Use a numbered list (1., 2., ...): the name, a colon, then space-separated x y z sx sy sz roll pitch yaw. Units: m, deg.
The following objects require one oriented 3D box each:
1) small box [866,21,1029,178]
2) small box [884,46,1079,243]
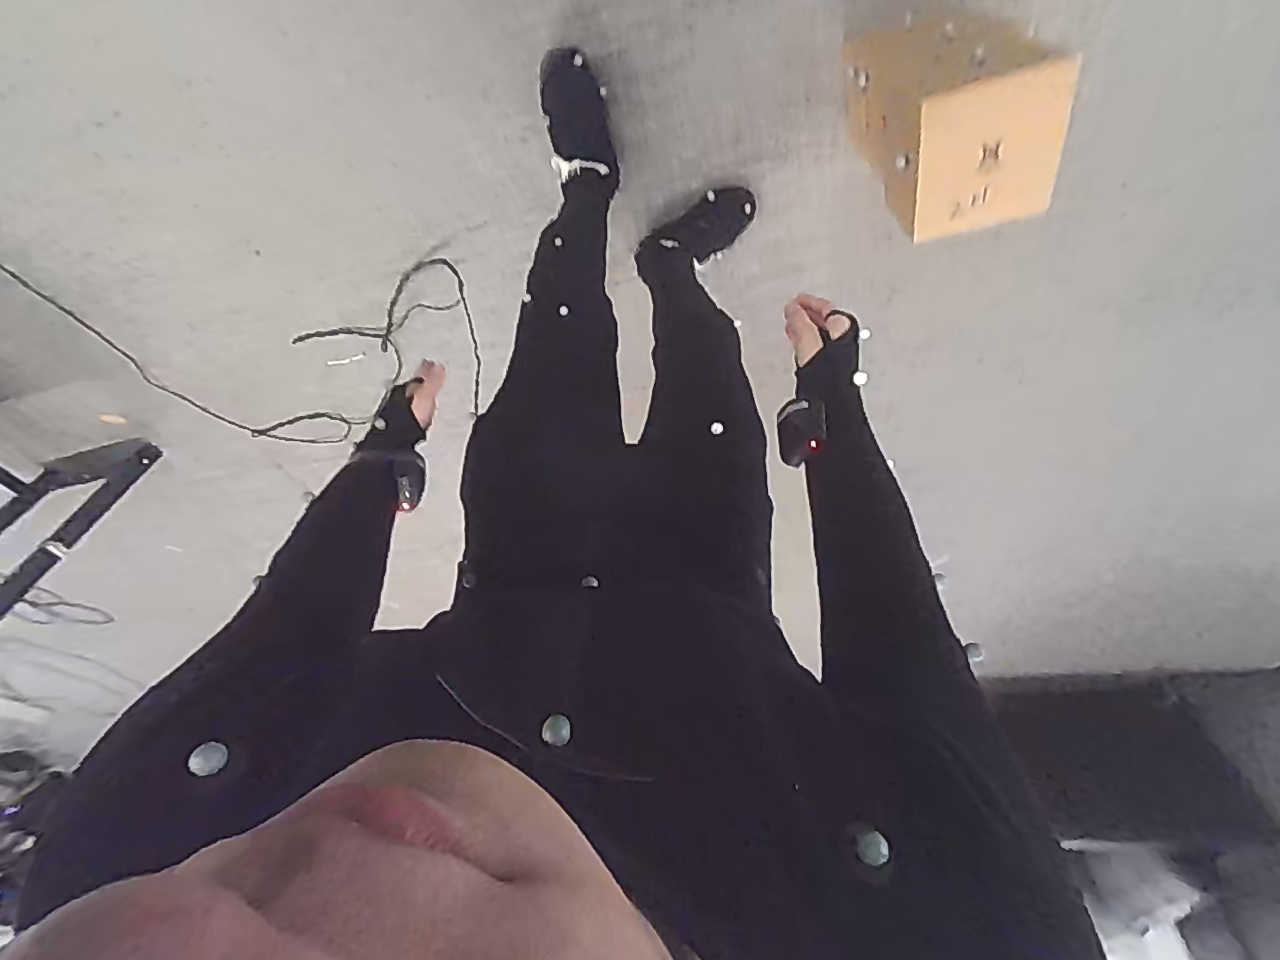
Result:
1. small box: 0.459 -0.579 0.842 0.179 0.176 0.168 -10 134 14
2. small box: 0.440 -0.457 0.733 0.168 0.176 0.179 -9 134 14
